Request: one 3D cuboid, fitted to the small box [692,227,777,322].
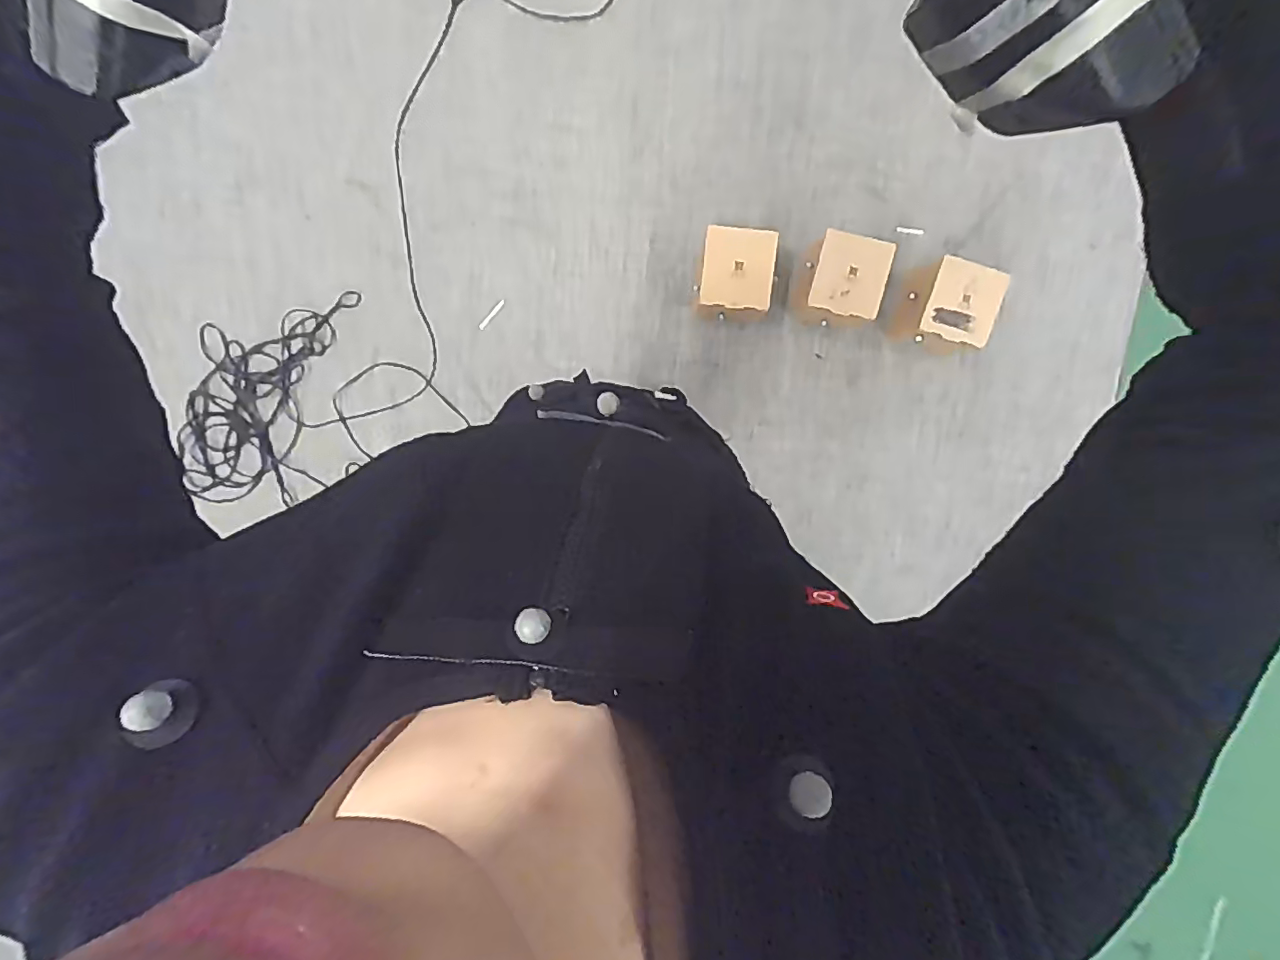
[{"bbox_3d":[0.222,-0.491,1.313,0.168,0.176,0.179,5,99,0],"label":"small box"}]

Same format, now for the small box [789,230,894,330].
[{"bbox_3d":[0.478,-0.476,1.312,0.168,0.176,0.179,13,99,-1],"label":"small box"}]
